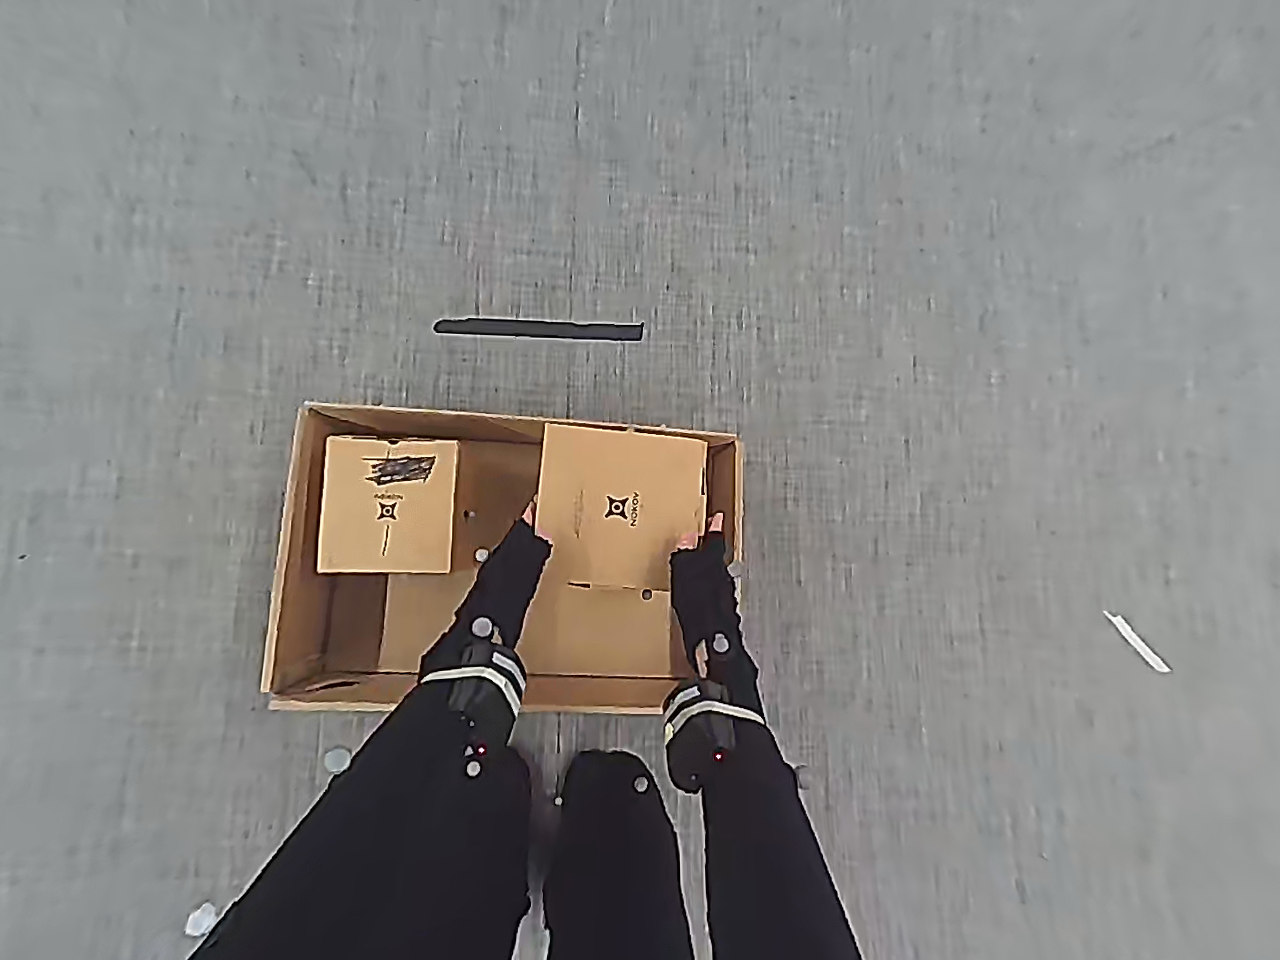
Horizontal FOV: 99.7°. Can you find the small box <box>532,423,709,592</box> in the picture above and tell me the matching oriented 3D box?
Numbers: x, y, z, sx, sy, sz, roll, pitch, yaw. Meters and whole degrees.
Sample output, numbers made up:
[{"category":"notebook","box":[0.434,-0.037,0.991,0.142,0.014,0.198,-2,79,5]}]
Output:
[{"category":"small box","box":[-0.025,0.038,0.642,0.179,0.176,0.168,5,81,-4]}]
